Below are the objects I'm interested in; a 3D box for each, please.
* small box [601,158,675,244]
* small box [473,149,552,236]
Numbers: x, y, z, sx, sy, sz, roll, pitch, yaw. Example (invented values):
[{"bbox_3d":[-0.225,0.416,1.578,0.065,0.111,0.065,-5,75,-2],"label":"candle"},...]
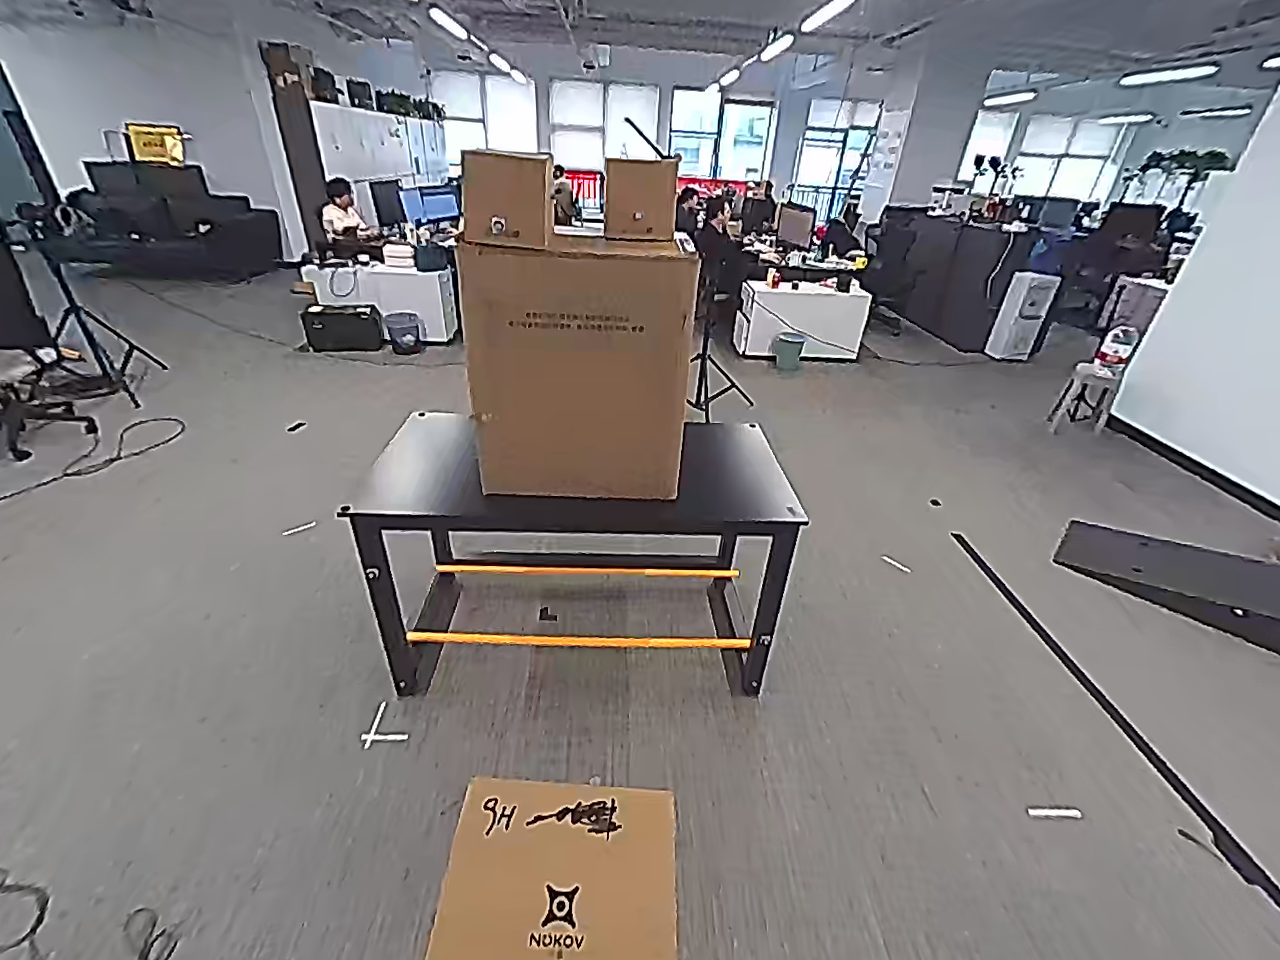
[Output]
[{"bbox_3d":[-0.010,-0.679,1.313,0.168,0.176,0.179,-1,30,-5],"label":"small box"},{"bbox_3d":[-0.304,-0.702,1.323,0.168,0.176,0.179,1,29,-5],"label":"small box"}]
